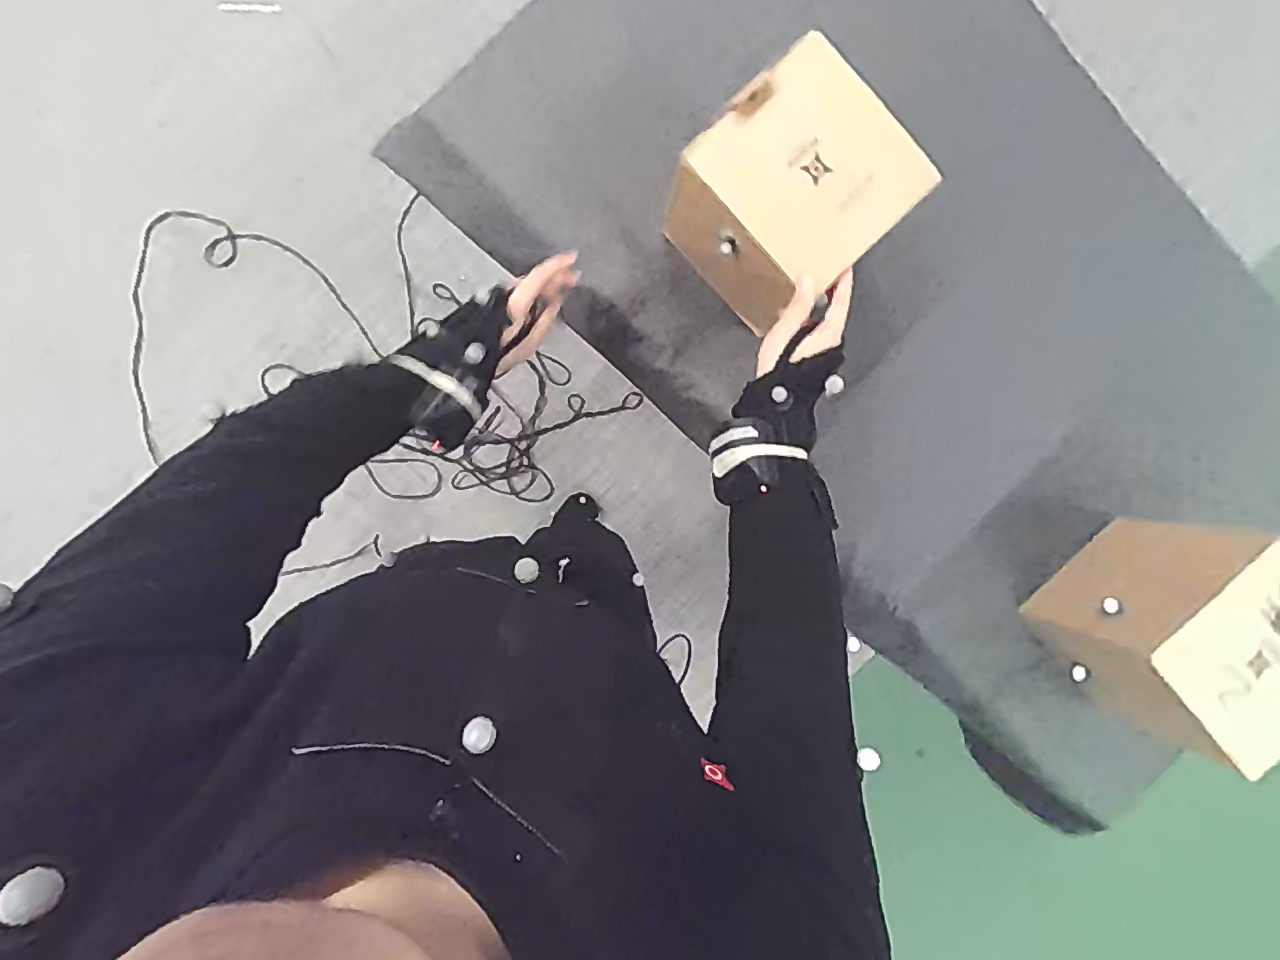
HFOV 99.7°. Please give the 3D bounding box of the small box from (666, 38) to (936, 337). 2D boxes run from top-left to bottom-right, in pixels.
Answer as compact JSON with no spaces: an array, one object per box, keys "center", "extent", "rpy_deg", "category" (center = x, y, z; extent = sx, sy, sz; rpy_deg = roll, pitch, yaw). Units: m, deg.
[{"center":[0.145,-0.275,0.557],"extent":[0.168,0.176,0.179],"rpy_deg":[-43,95,-1],"category":"small box"}]
